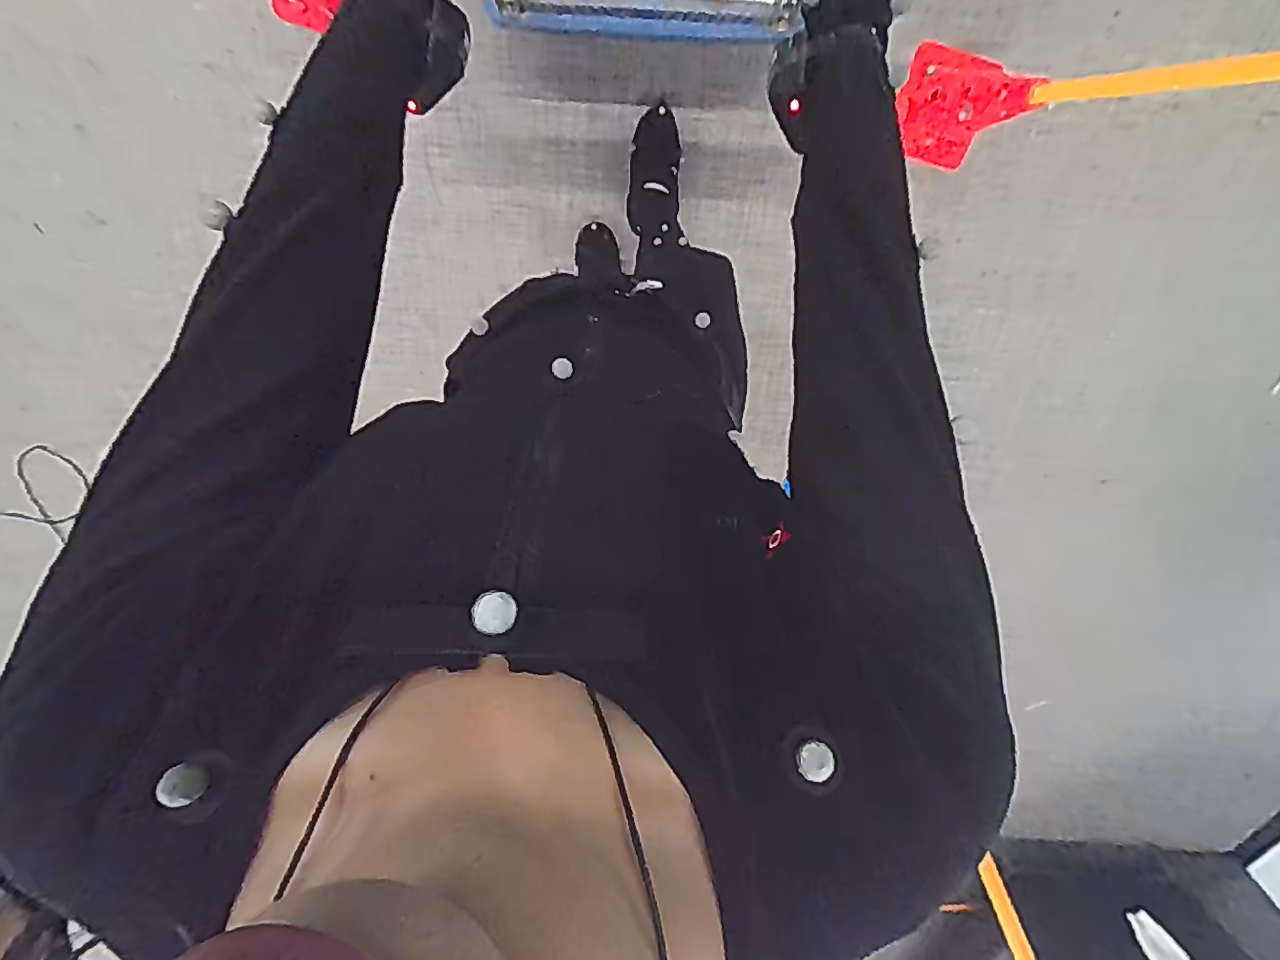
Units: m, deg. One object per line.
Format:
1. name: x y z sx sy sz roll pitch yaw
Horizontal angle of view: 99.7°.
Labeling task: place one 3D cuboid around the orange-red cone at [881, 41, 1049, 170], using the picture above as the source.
1. orange-red cone: 0.640 -0.706 1.012 0.198 0.360 0.199 14 121 -7
